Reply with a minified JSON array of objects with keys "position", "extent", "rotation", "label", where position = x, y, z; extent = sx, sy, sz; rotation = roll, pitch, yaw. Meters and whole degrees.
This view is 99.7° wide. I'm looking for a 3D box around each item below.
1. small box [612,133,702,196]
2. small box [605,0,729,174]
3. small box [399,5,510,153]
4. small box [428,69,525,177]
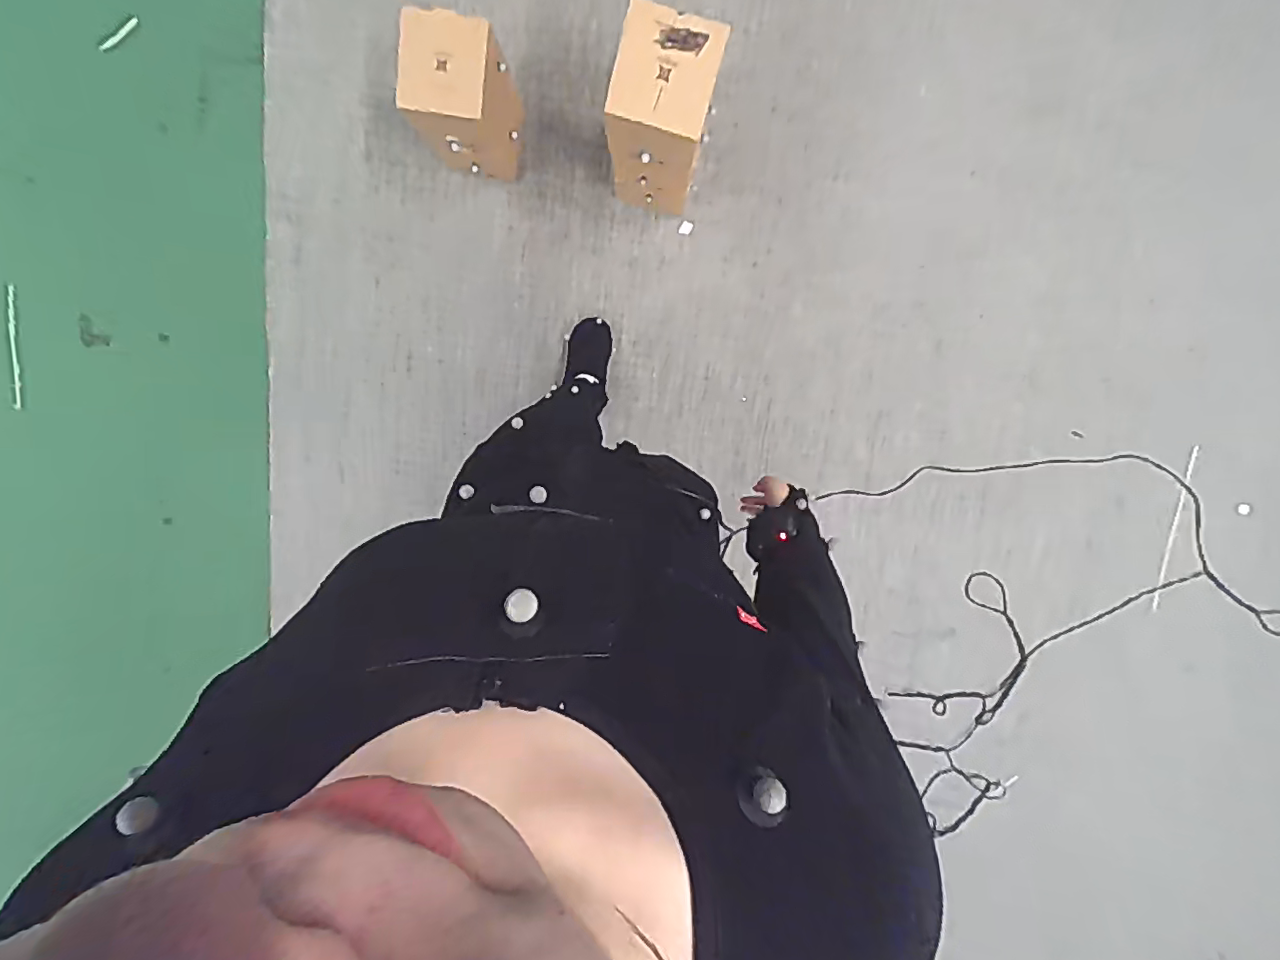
[{"position":[0.042,-0.720,1.115],"extent":[0.168,0.176,0.179],"rotation":[14,101,-3],"label":"small box"},{"position":[0.041,-0.680,0.956],"extent":[0.168,0.176,0.179],"rotation":[16,102,-3],"label":"small box"},{"position":[-0.369,-0.801,1.096],"extent":[0.168,0.176,0.179],"rotation":[7,102,-1],"label":"small box"},{"position":[-0.372,-0.833,1.256],"extent":[0.168,0.176,0.179],"rotation":[11,101,-2],"label":"small box"}]
